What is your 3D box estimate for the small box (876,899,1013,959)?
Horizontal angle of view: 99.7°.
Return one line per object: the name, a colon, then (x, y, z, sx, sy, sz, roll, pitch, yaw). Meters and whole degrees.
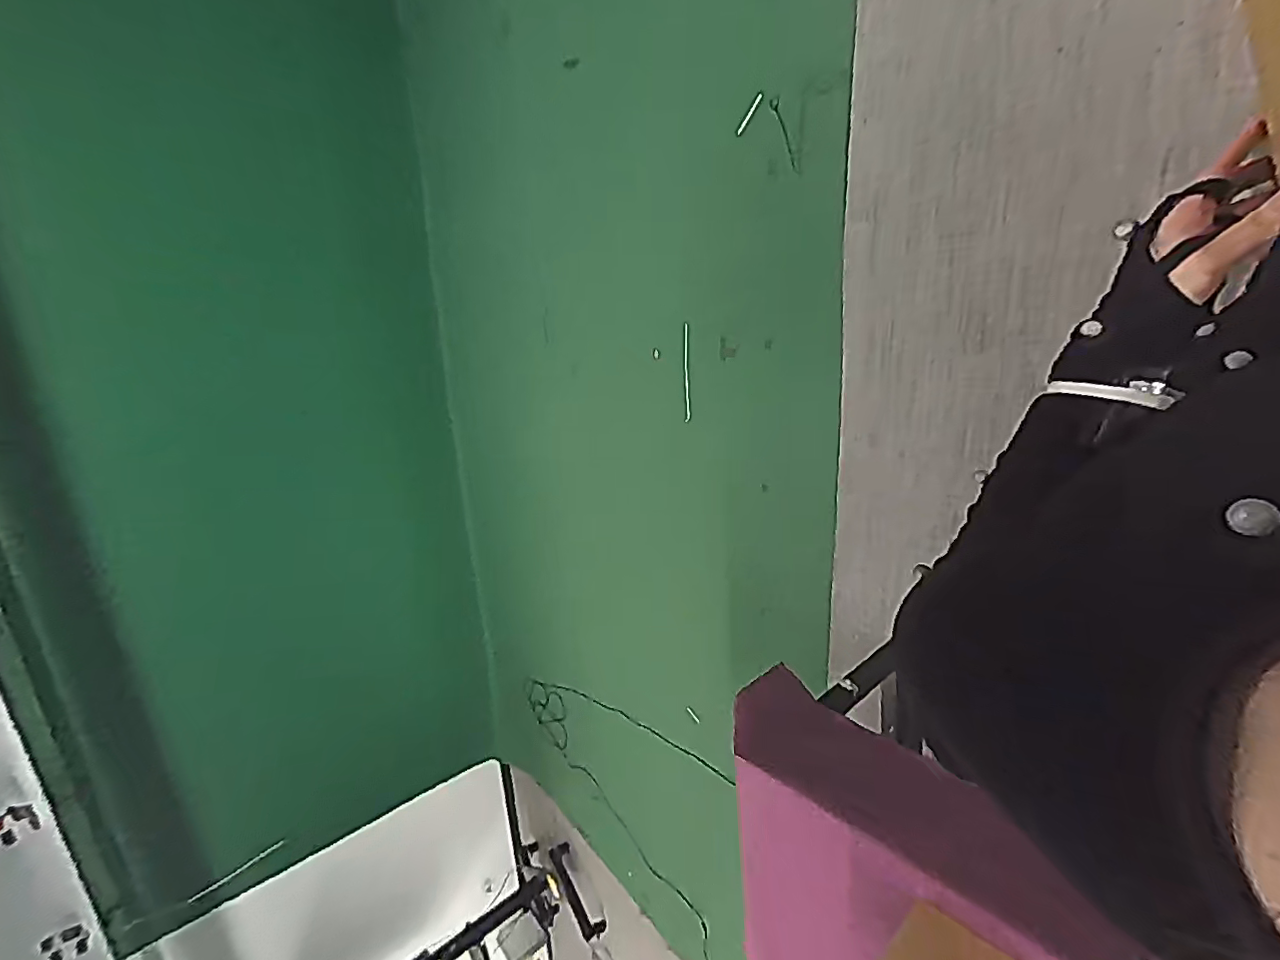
small box: (0.472, 0.806, 0.827, 0.179, 0.176, 0.168, 9, 109, 49)
